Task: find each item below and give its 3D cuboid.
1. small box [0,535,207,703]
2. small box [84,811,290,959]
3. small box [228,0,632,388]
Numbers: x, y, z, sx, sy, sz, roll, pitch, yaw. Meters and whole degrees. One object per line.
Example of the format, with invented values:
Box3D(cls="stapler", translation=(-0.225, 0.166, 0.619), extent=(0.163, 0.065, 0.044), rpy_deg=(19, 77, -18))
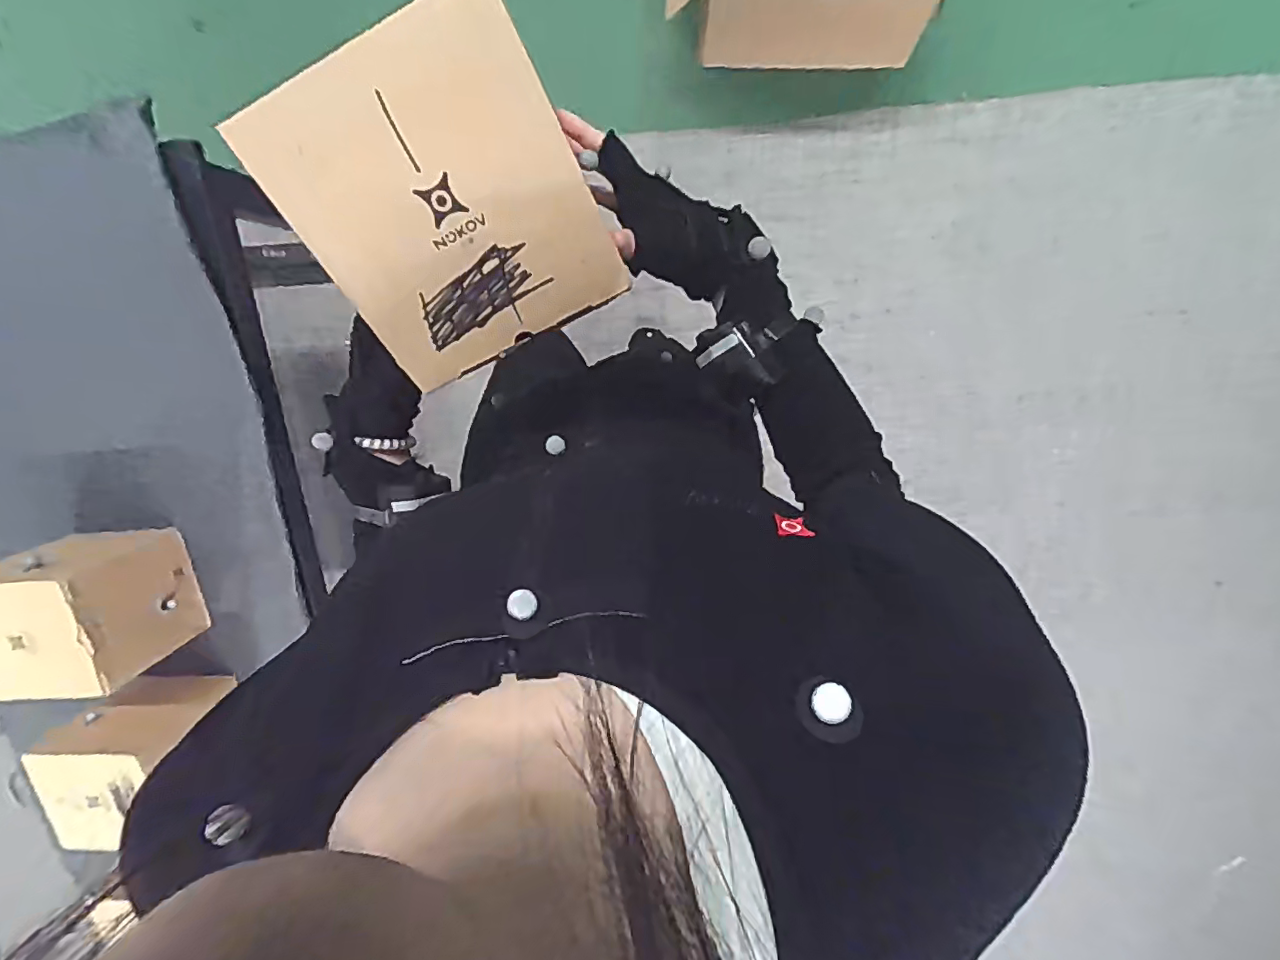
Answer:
Box3D(cls="small box", translation=(-0.765, 0.183, 0.748), extent=(0.179, 0.176, 0.168), rpy_deg=(-4, 105, 3))
Box3D(cls="small box", translation=(-0.718, 0.673, 0.878), extent=(0.179, 0.176, 0.168), rpy_deg=(0, 106, 4))
Box3D(cls="small box", translation=(-0.120, -0.201, 0.385), extent=(0.168, 0.176, 0.179), rpy_deg=(-25, 122, 7))
